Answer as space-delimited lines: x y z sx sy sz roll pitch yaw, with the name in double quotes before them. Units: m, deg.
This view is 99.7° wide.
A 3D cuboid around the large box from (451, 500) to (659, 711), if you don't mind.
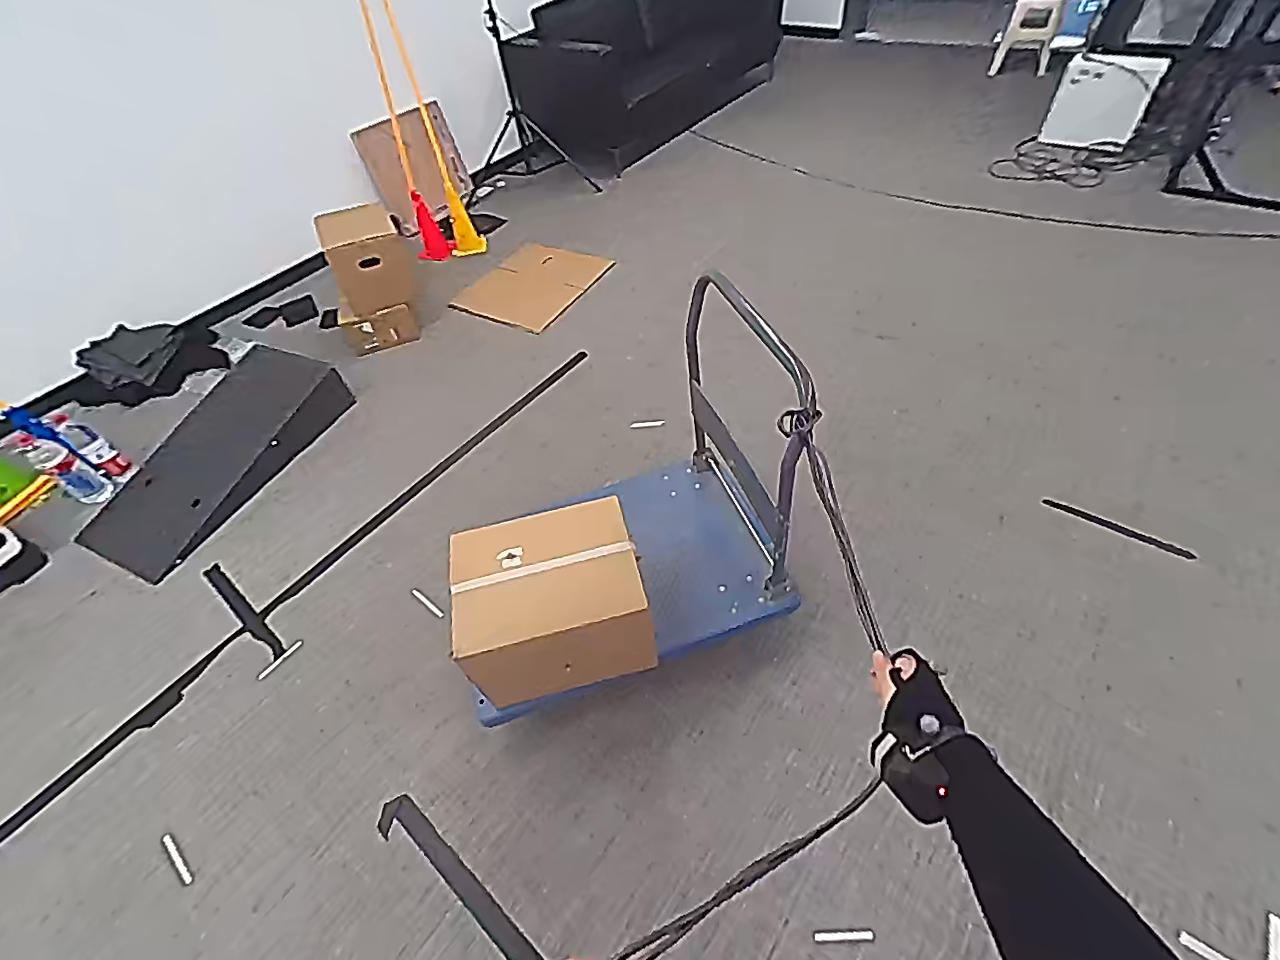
"large box" -0.194 0.301 1.285 0.408 0.320 0.320 -14 49 -5
